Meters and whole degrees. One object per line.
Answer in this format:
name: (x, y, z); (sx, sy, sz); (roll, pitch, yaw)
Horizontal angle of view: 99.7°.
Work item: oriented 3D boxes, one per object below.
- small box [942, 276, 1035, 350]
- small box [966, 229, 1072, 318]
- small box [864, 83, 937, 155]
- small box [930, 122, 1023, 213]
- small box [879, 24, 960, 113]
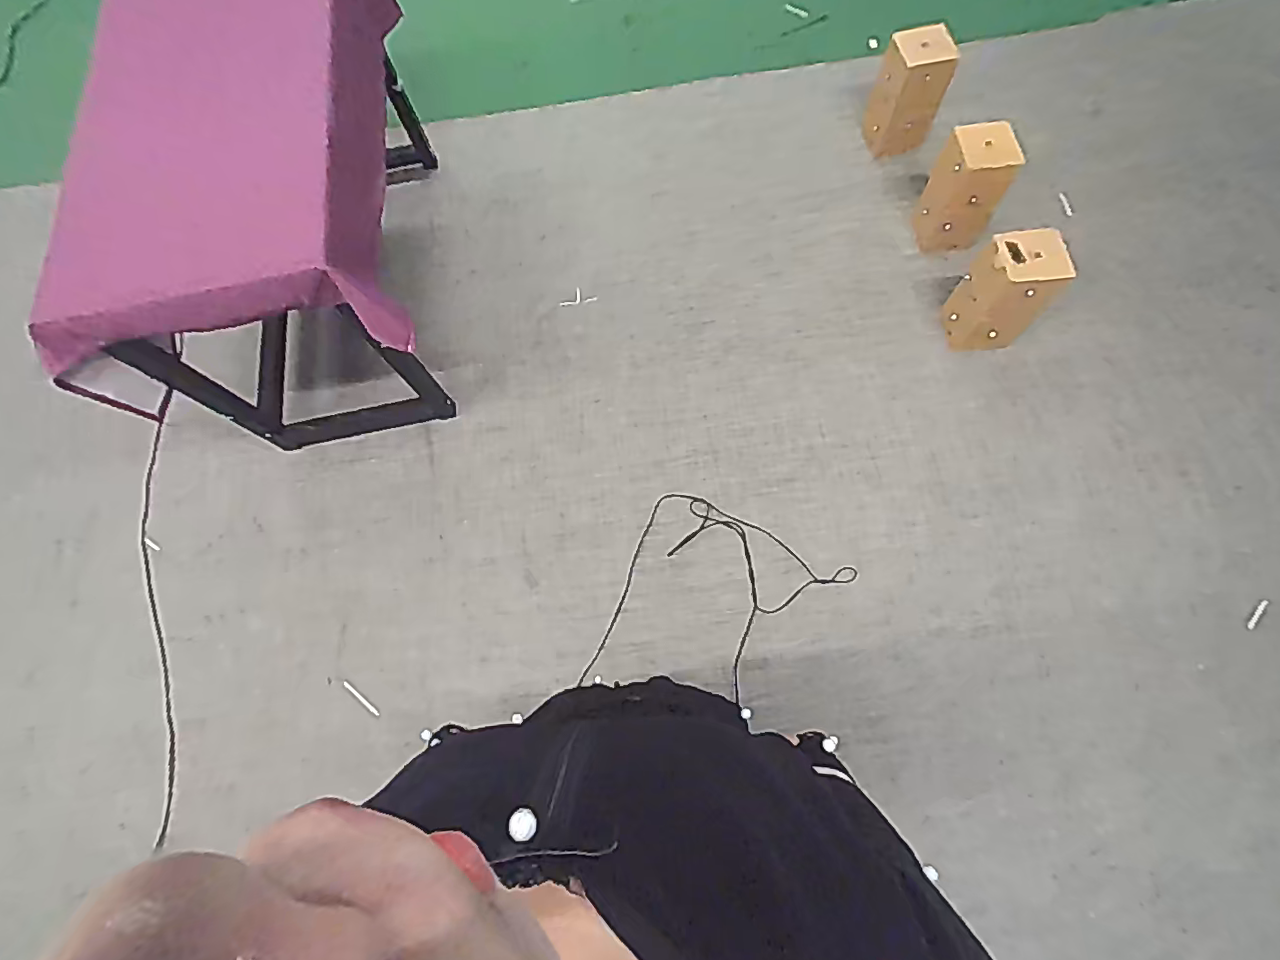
small box: (1.068, -0.521, 1.680); (0.179, 0.176, 0.168); (-6, 71, 2)
small box: (1.053, -0.576, 1.525); (0.179, 0.176, 0.168); (-4, 71, 1)
small box: (0.937, -1.318, 1.967); (0.179, 0.176, 0.168); (-9, 71, 0)
small box: (1.023, -0.957, 1.662); (0.168, 0.176, 0.179); (-4, 71, 2)
small box: (0.924, -1.373, 1.813); (0.179, 0.176, 0.168); (-10, 72, 0)
